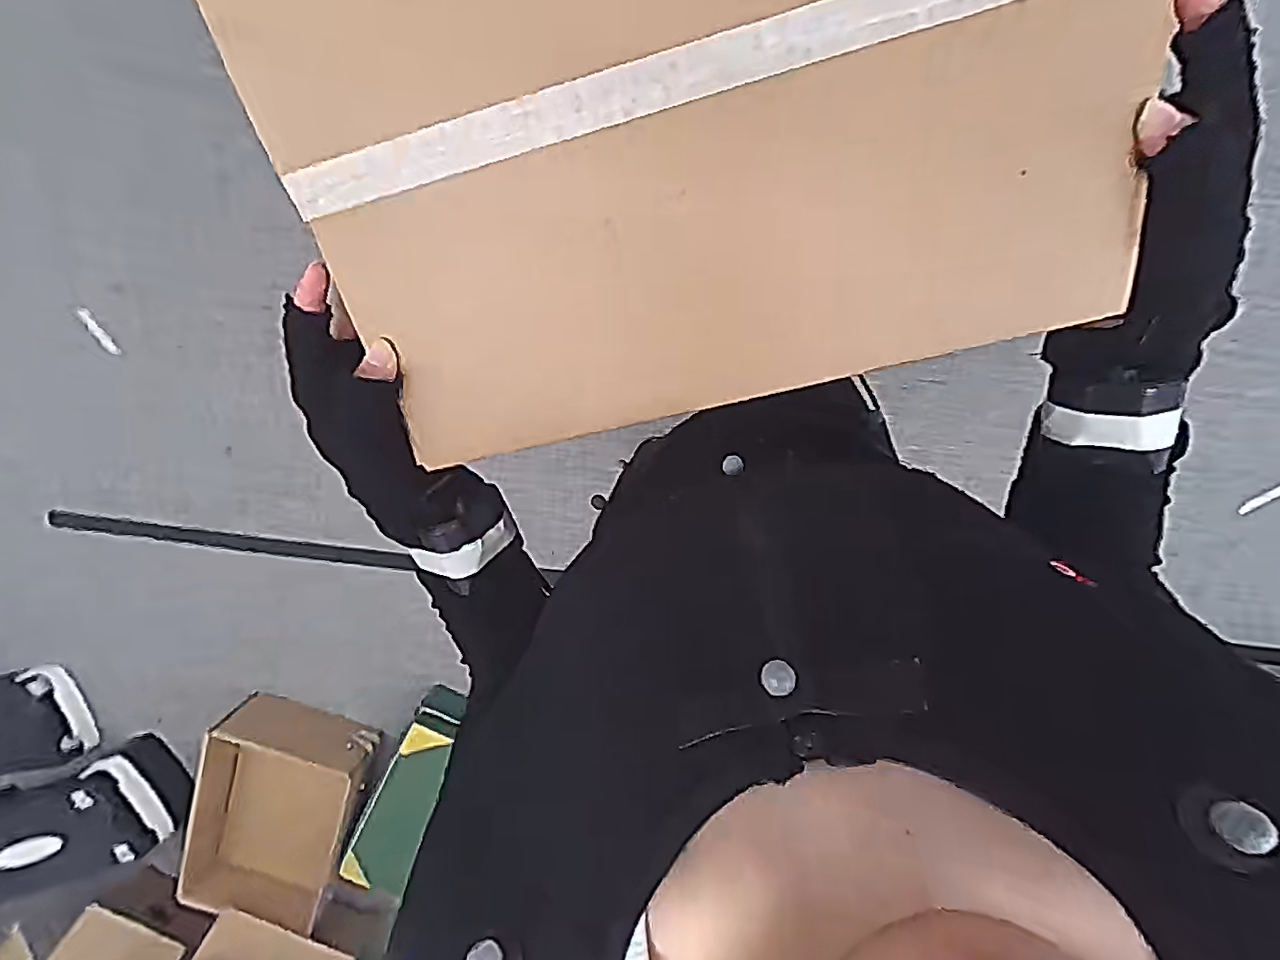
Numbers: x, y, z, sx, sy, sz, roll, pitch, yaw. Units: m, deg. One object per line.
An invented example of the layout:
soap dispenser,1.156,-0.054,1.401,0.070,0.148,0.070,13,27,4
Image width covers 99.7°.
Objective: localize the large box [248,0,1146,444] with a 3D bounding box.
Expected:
large box,0.031,-0.259,0.393,0.408,0.320,0.320,-11,116,7
